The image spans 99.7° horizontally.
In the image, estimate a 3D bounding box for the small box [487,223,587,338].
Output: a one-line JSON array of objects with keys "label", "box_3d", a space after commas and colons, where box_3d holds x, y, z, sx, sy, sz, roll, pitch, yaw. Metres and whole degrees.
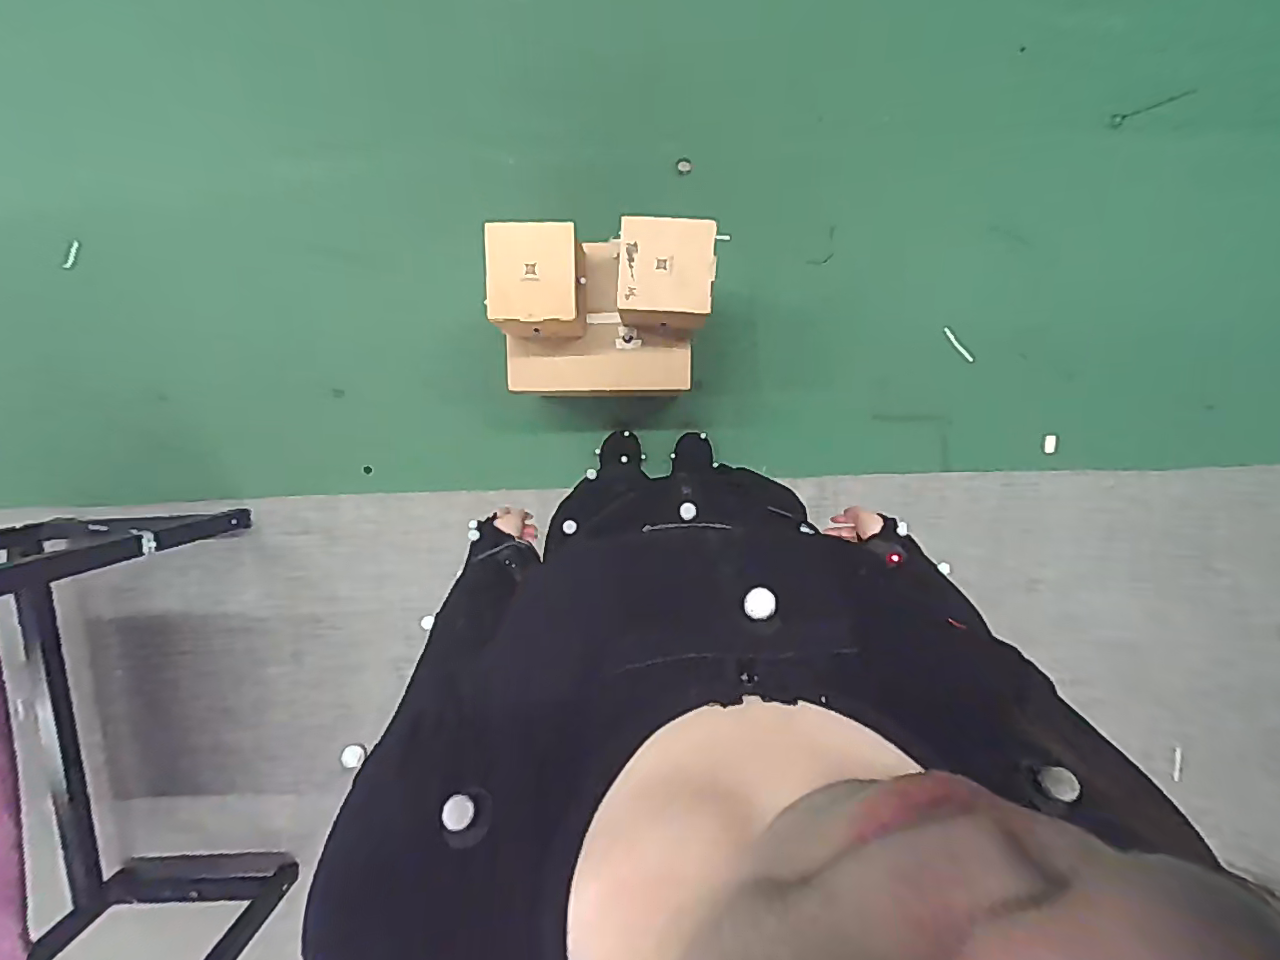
[{"label": "small box", "box_3d": [-0.195, -0.382, 1.059, 0.168, 0.176, 0.179, 0, 96, 1]}]

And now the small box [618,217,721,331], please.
[{"label": "small box", "box_3d": [0.054, -0.390, 1.049, 0.179, 0.176, 0.168, 4, 96, 1]}]

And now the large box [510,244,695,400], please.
[{"label": "large box", "box_3d": [-0.082, -0.361, 1.303, 0.408, 0.320, 0.320, -1, 97, 1]}]
